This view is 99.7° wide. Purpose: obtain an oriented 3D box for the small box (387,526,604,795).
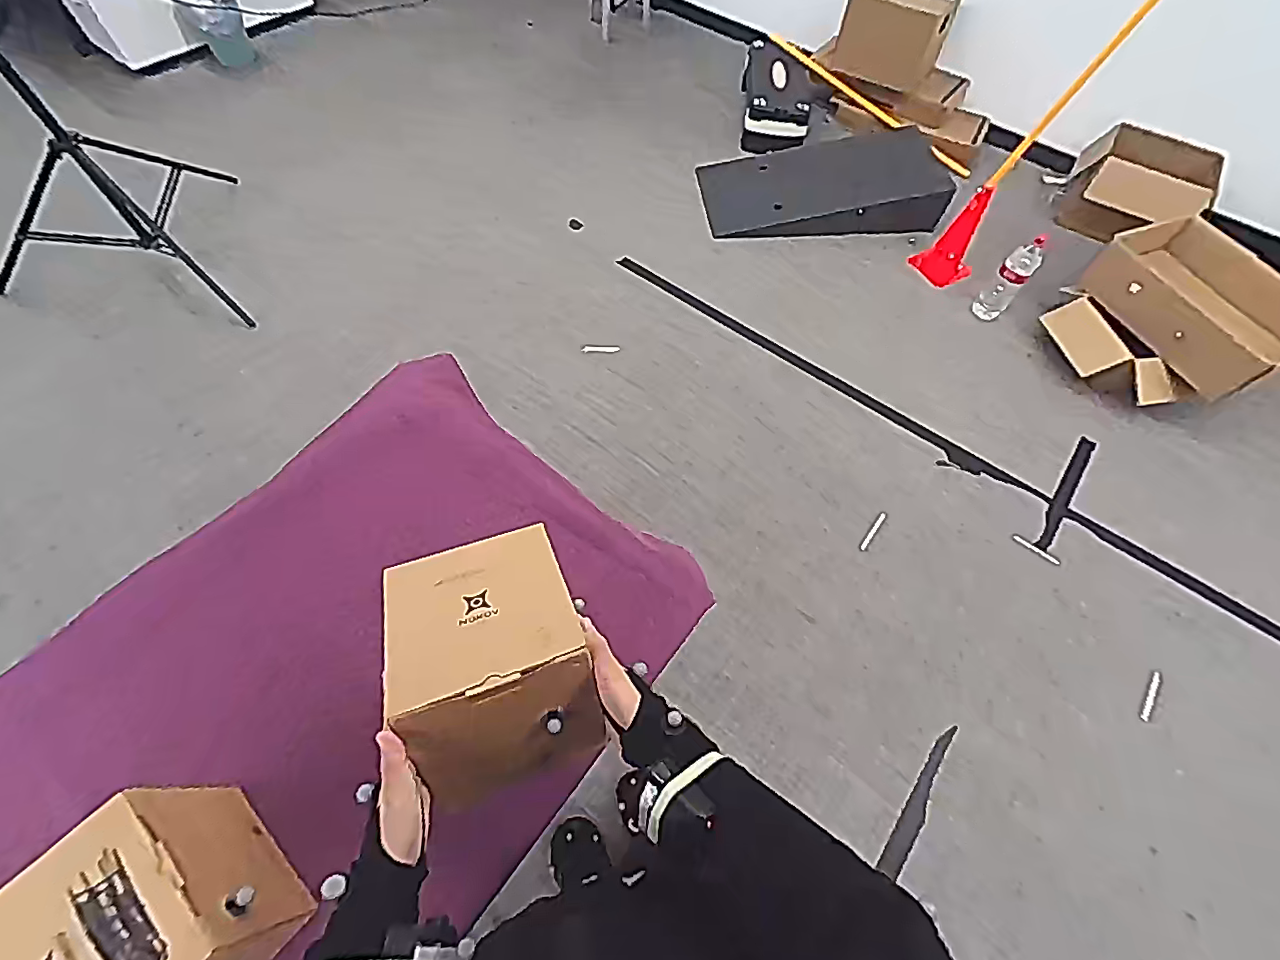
[{"bbox_3d":[-0.142,0.181,0.544,0.168,0.176,0.179,-16,38,-16],"label":"small box"}]
